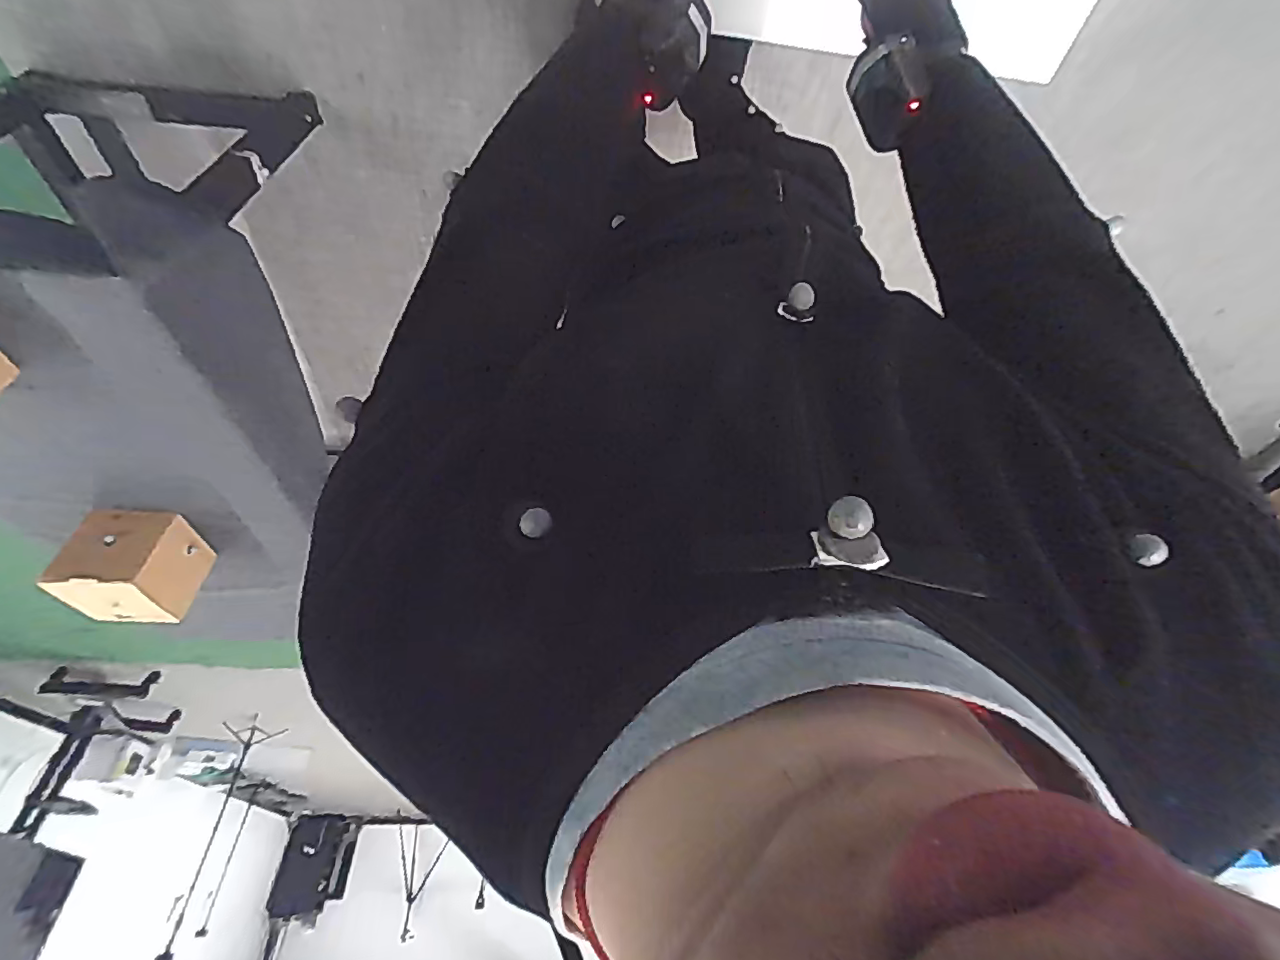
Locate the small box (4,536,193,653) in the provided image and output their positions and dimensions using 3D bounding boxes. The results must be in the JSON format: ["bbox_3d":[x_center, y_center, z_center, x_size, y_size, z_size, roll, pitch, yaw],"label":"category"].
[{"bbox_3d":[-1.031,0.221,1.053,0.168,0.176,0.179,2,139,-8],"label":"small box"}]
